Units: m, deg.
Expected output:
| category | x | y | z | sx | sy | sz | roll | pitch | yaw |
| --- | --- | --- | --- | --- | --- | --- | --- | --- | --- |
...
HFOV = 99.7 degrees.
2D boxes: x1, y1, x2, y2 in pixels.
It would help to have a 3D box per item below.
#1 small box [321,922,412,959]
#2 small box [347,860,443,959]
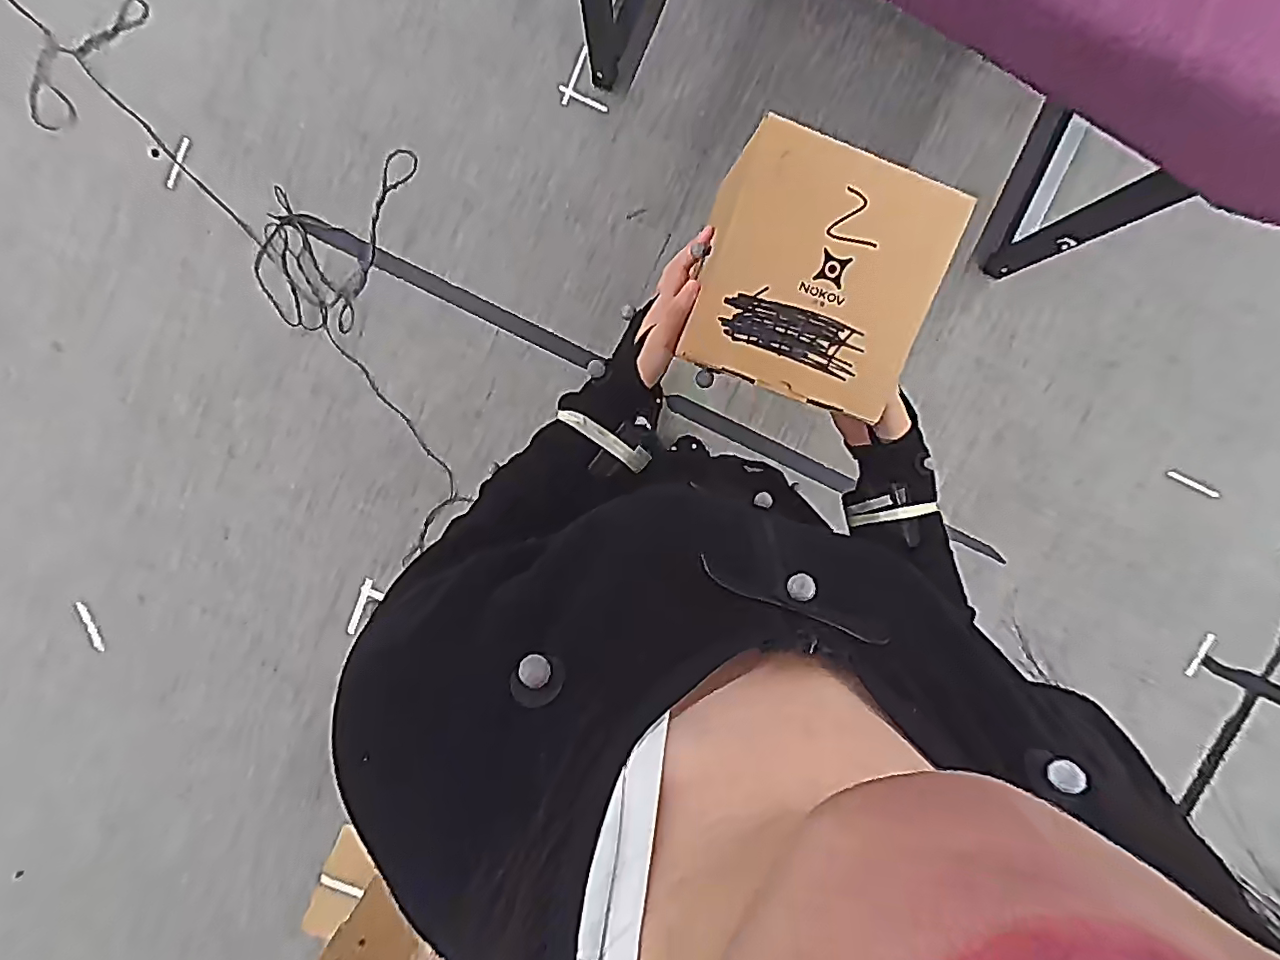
| category | x | y | z | sx | sy | sz | roll | pitch | yaw |
| --- | --- | --- | --- | --- | --- | --- | --- | --- | --- |
| small box | -0.578 | 1.039 | 1.071 | 0.168 | 0.176 | 0.179 | 21 | 96 | -1 |
| small box | -0.575 | 1.030 | 1.233 | 0.168 | 0.176 | 0.179 | 22 | 95 | -2 |
